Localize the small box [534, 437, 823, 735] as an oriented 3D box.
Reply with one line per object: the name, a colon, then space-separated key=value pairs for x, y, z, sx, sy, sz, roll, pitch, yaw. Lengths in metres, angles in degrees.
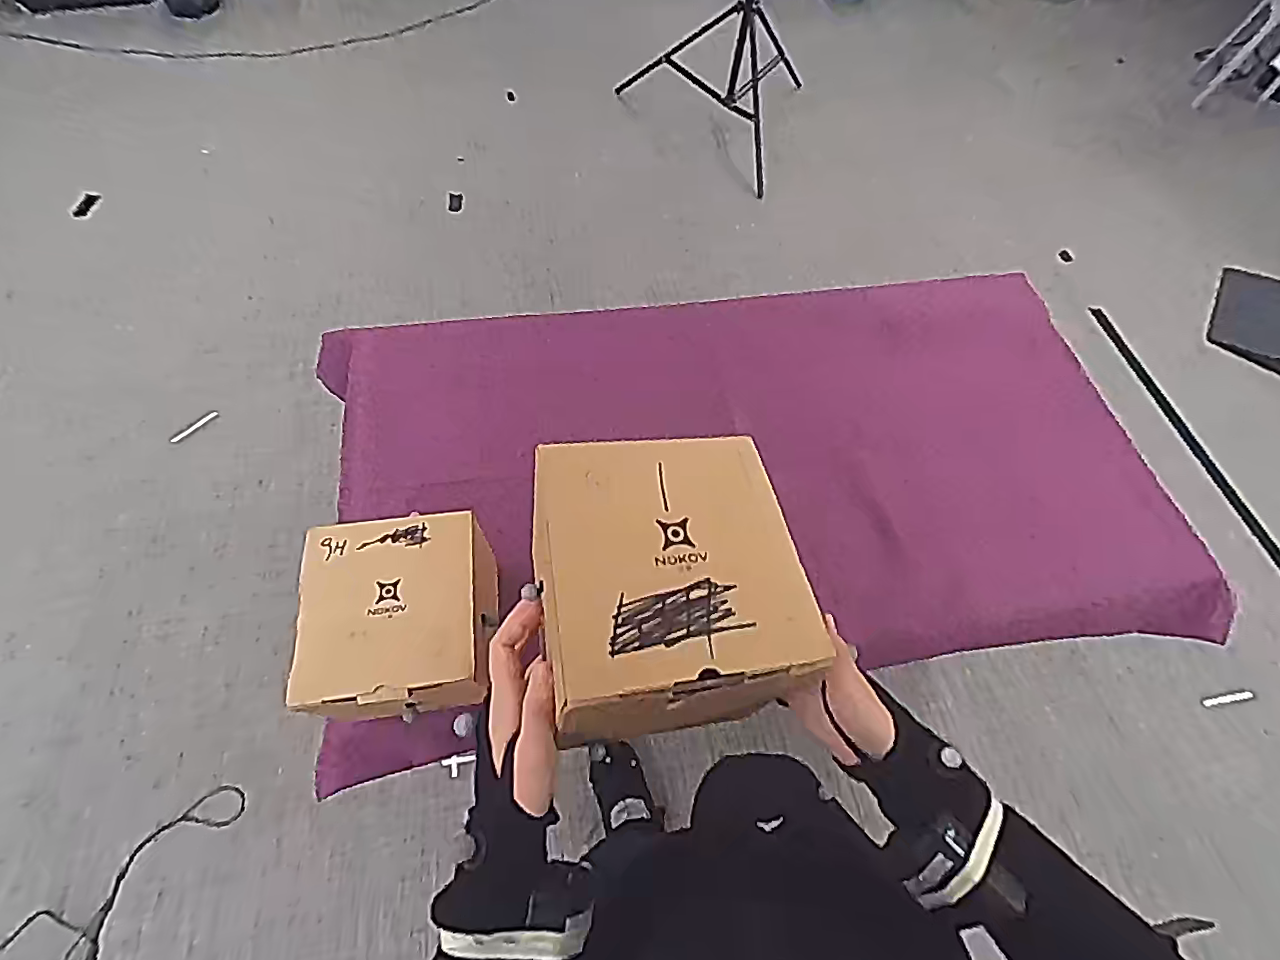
small box: x=0.007 y=0.087 z=0.421 sx=0.168 sy=0.176 sz=0.179 roll=-3 pitch=56 yaw=-15

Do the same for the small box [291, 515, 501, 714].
small box: x=-0.251 y=0.156 z=0.599 sx=0.168 sy=0.176 sz=0.179 roll=-6 pitch=64 yaw=-8
